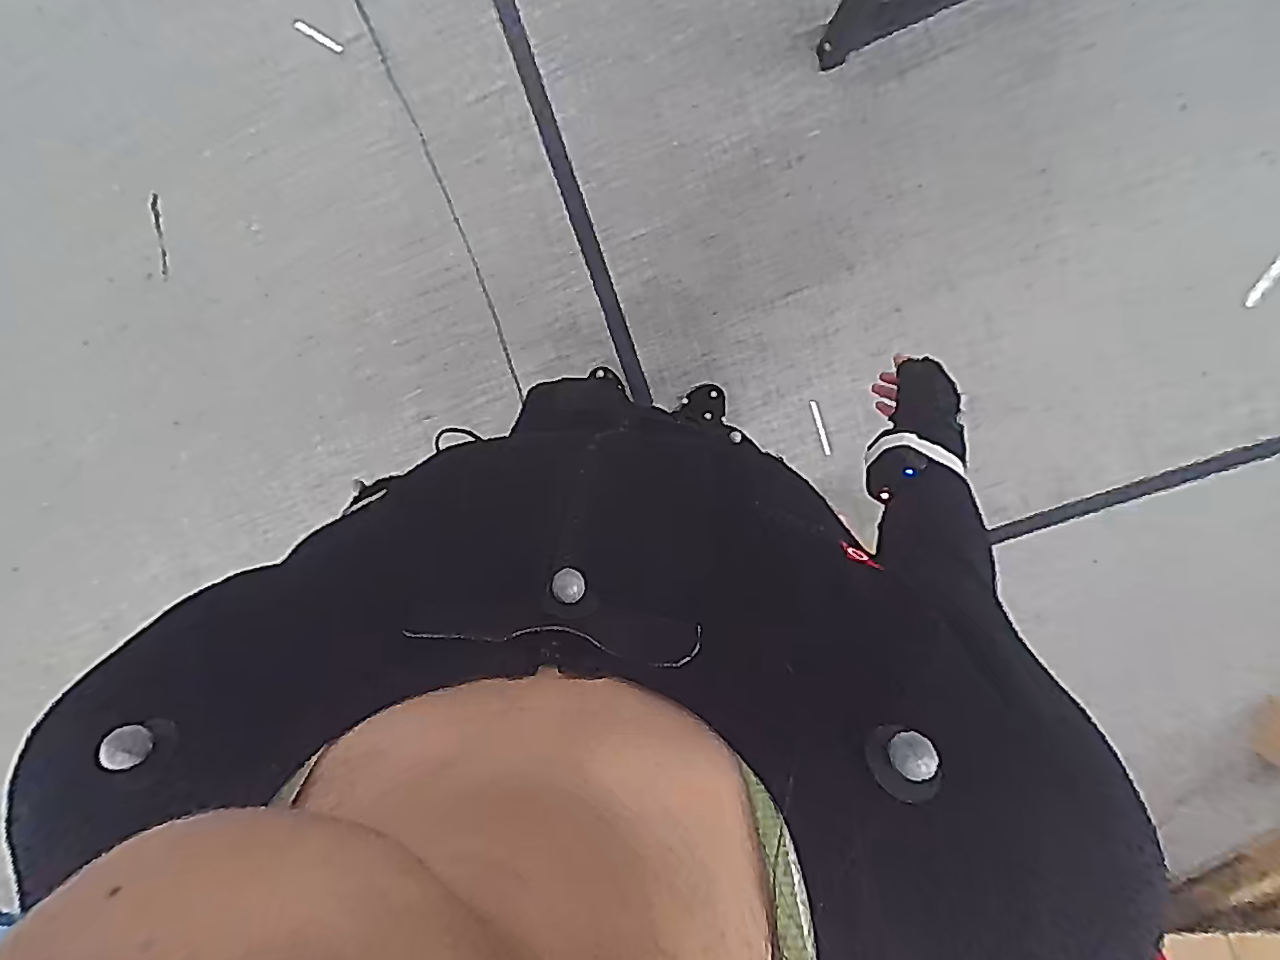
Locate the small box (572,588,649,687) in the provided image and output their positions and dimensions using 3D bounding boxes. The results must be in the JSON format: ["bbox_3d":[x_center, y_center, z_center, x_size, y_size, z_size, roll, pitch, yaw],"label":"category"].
[{"bbox_3d":[-0.068,0.380,1.335,0.168,0.176,0.179,4,103,4],"label":"small box"}]
